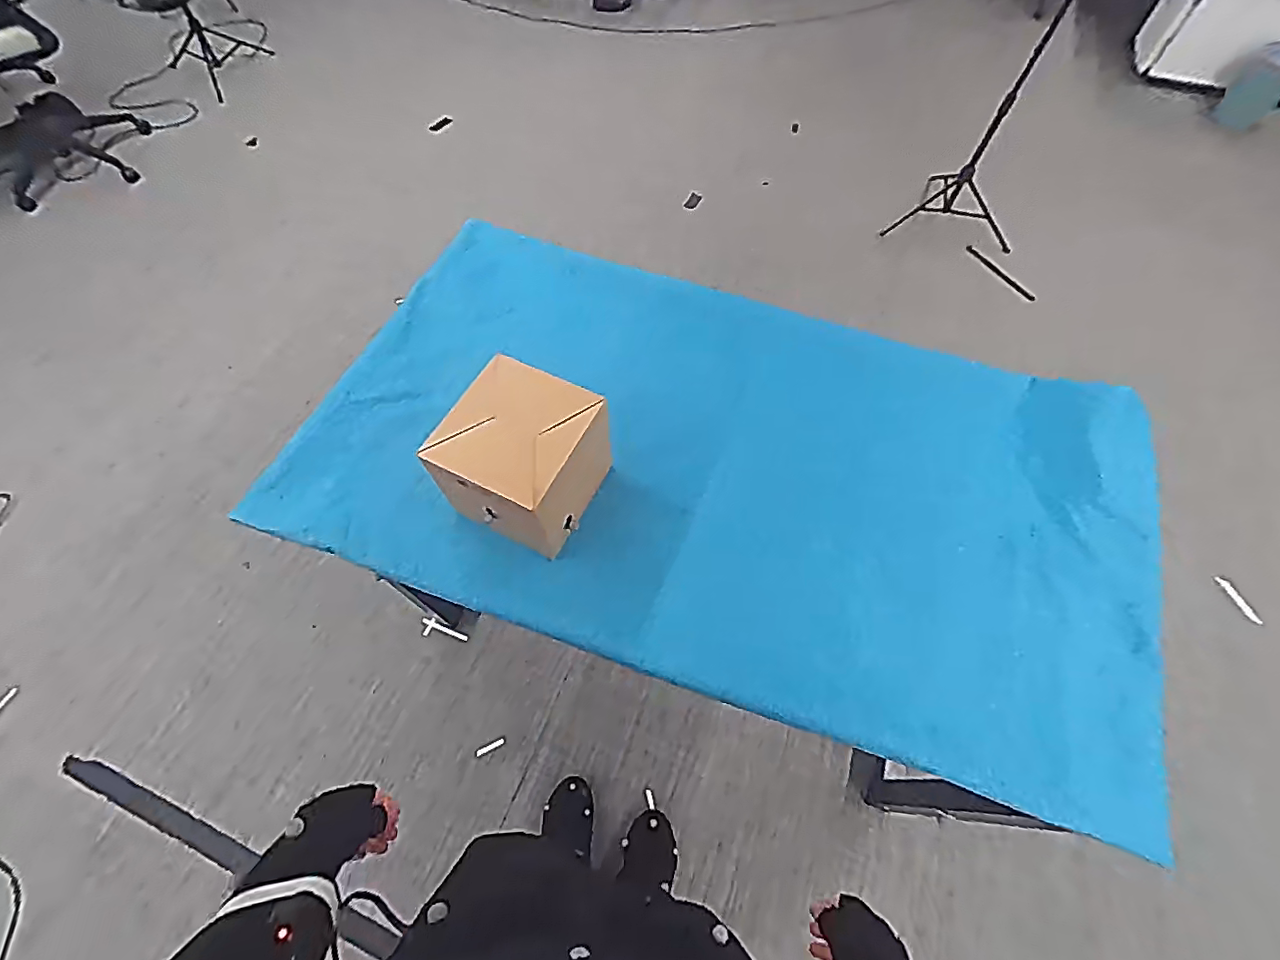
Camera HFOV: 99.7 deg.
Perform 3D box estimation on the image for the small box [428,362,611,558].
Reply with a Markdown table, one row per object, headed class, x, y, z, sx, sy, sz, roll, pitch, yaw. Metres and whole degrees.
| class | x | y | z | sx | sy | sz | roll | pitch | yaw |
| --- | --- | --- | --- | --- | --- | --- | --- | --- | --- |
| small box | -0.153 | -0.026 | 0.732 | 0.168 | 0.176 | 0.179 | 24 | 64 | 12 |
